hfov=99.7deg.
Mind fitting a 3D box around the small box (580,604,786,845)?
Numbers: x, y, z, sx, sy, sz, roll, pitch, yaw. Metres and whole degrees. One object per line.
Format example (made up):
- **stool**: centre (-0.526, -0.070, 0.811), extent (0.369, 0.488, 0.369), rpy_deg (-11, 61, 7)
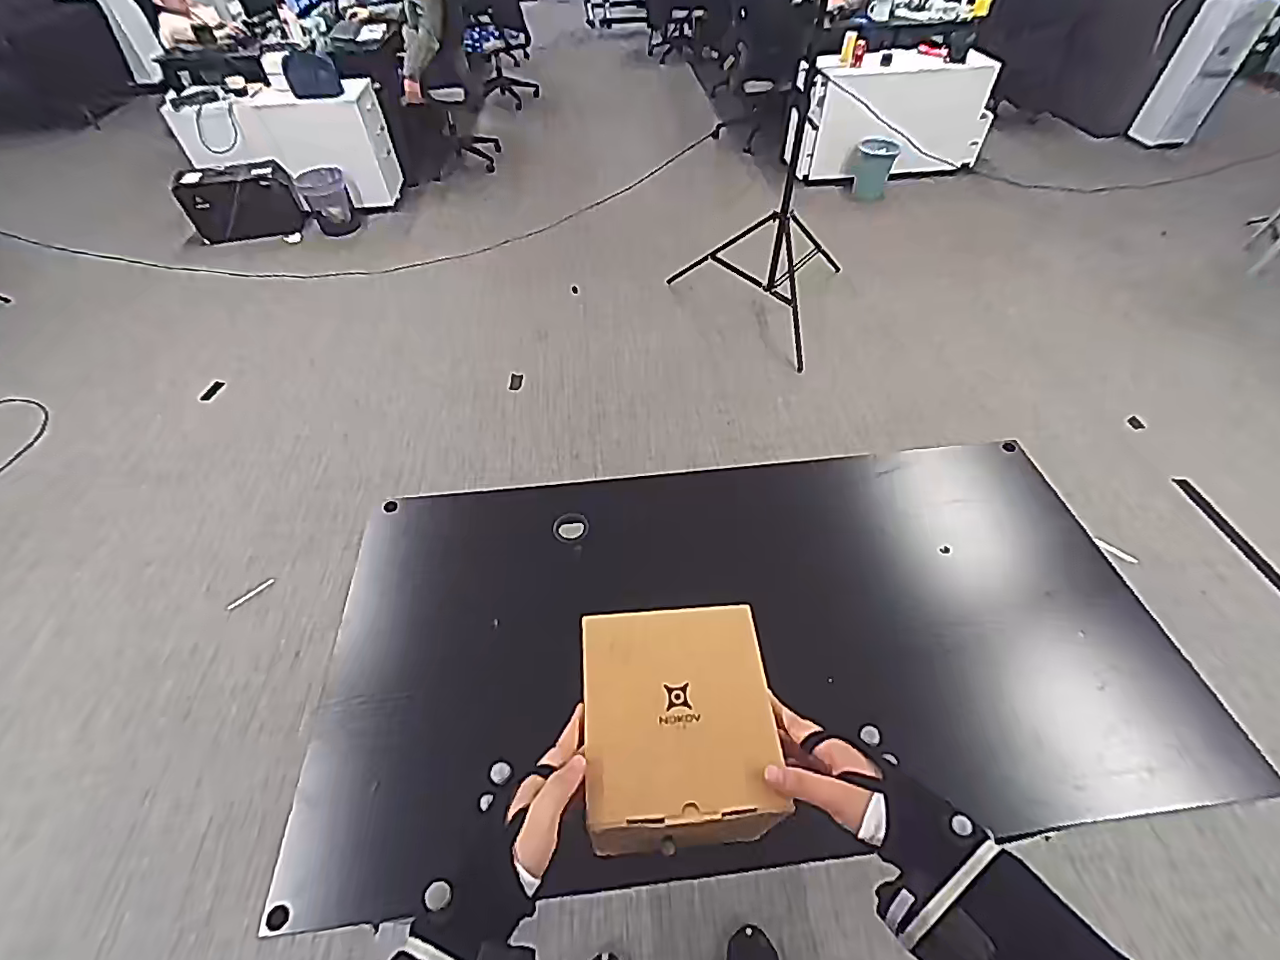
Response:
- **small box**: centre (0.027, 0.242, 0.536), extent (0.168, 0.176, 0.179), rpy_deg (-3, 51, -4)
